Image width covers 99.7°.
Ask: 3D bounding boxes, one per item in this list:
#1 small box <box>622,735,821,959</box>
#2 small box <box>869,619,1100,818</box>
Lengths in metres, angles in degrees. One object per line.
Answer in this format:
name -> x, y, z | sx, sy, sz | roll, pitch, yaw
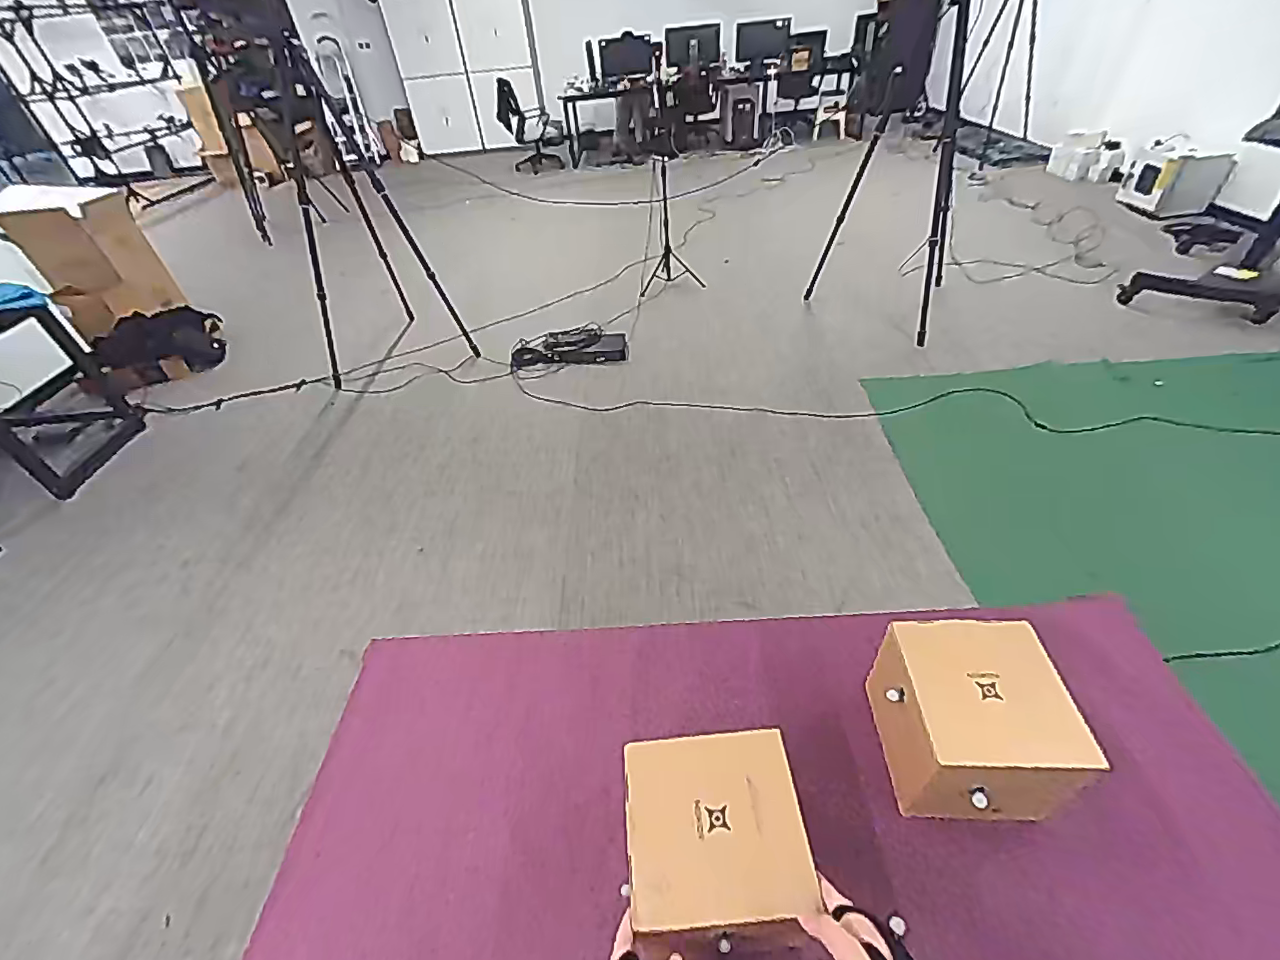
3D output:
small box -> 0.078, 0.402, 0.586 | 0.179, 0.176, 0.168 | -6, 42, 1
small box -> 0.396, 0.293, 0.664 | 0.168, 0.176, 0.179 | -2, 41, 6
